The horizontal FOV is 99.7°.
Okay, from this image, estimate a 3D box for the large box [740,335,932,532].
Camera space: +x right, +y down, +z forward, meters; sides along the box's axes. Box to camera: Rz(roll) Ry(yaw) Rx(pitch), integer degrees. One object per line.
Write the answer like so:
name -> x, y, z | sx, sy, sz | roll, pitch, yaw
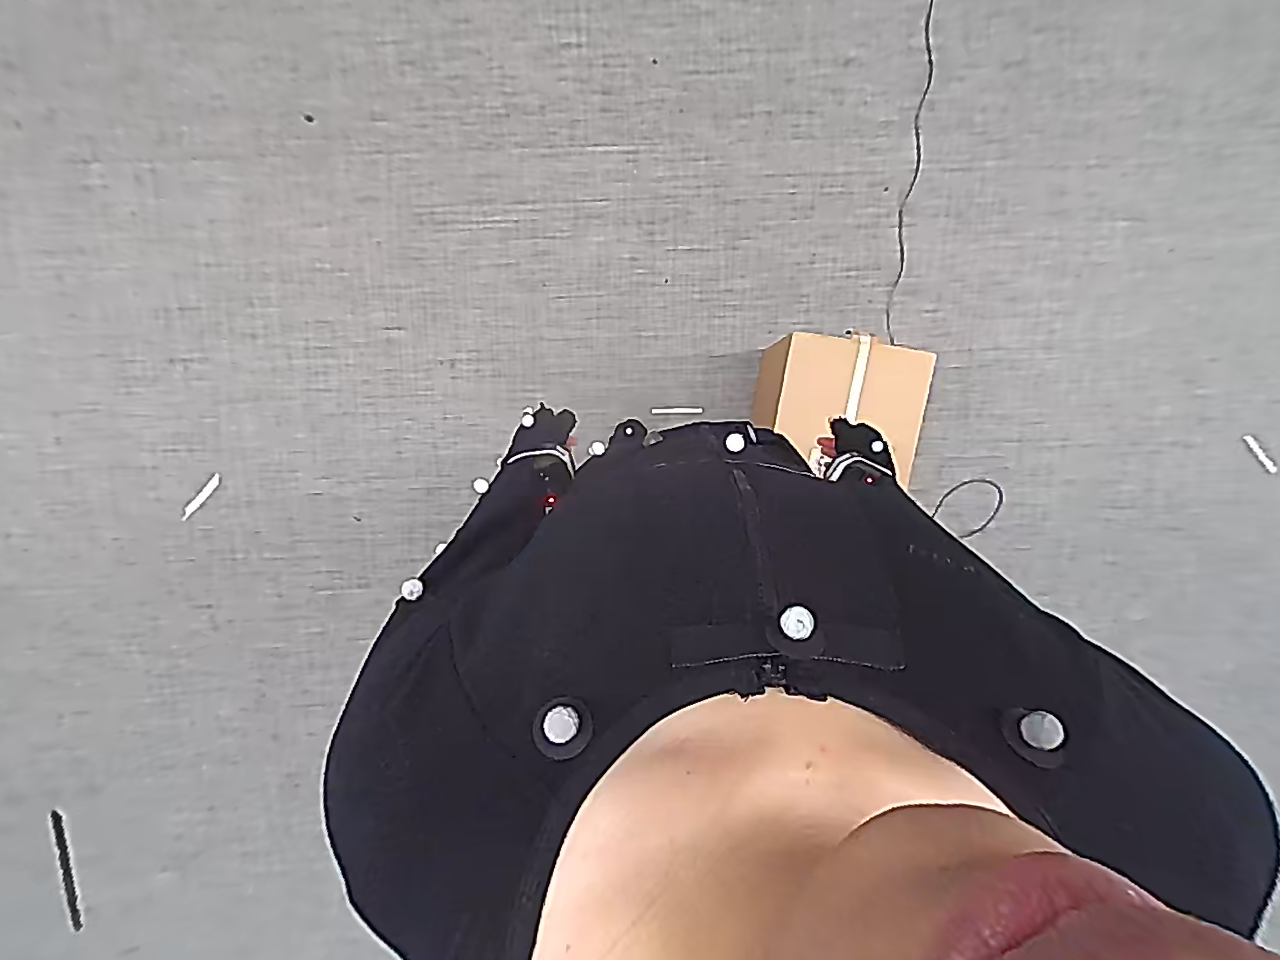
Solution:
large box -> 0.456, -0.120, 1.341 | 0.320, 0.320, 0.408 | 10, 98, 0
